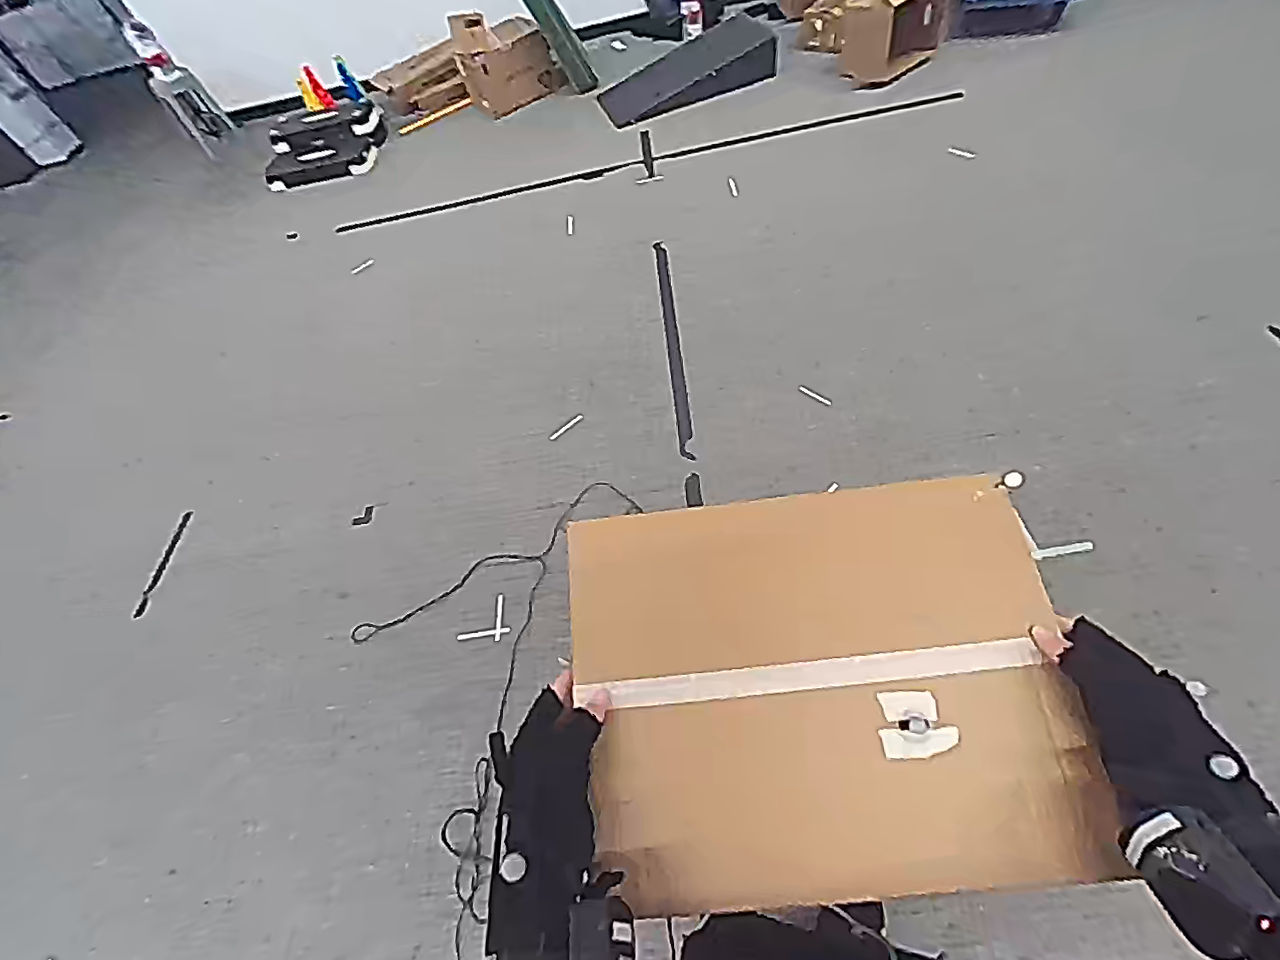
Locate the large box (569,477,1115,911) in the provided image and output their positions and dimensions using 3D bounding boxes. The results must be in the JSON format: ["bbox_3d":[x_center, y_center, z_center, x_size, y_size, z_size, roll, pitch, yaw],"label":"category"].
[{"bbox_3d":[0.153,0.221,0.601,0.408,0.320,0.320,-7,68,2],"label":"large box"}]
